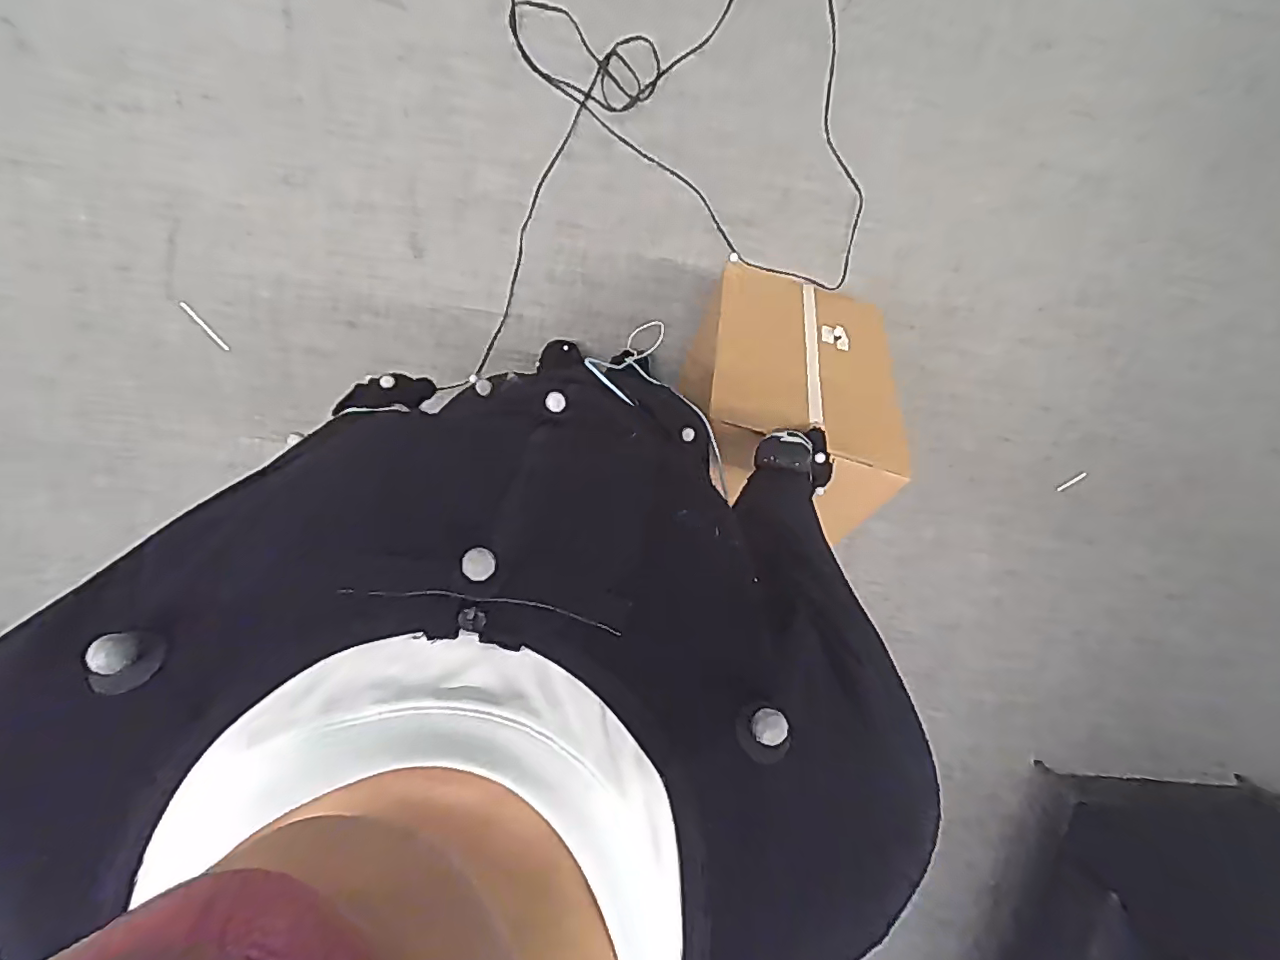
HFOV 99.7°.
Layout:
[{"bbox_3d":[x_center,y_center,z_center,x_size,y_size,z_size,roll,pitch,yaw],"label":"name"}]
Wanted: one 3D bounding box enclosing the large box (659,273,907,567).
[{"bbox_3d":[0.239,-0.105,1.012,0.320,0.408,0.320,16,142,-7],"label":"large box"}]
